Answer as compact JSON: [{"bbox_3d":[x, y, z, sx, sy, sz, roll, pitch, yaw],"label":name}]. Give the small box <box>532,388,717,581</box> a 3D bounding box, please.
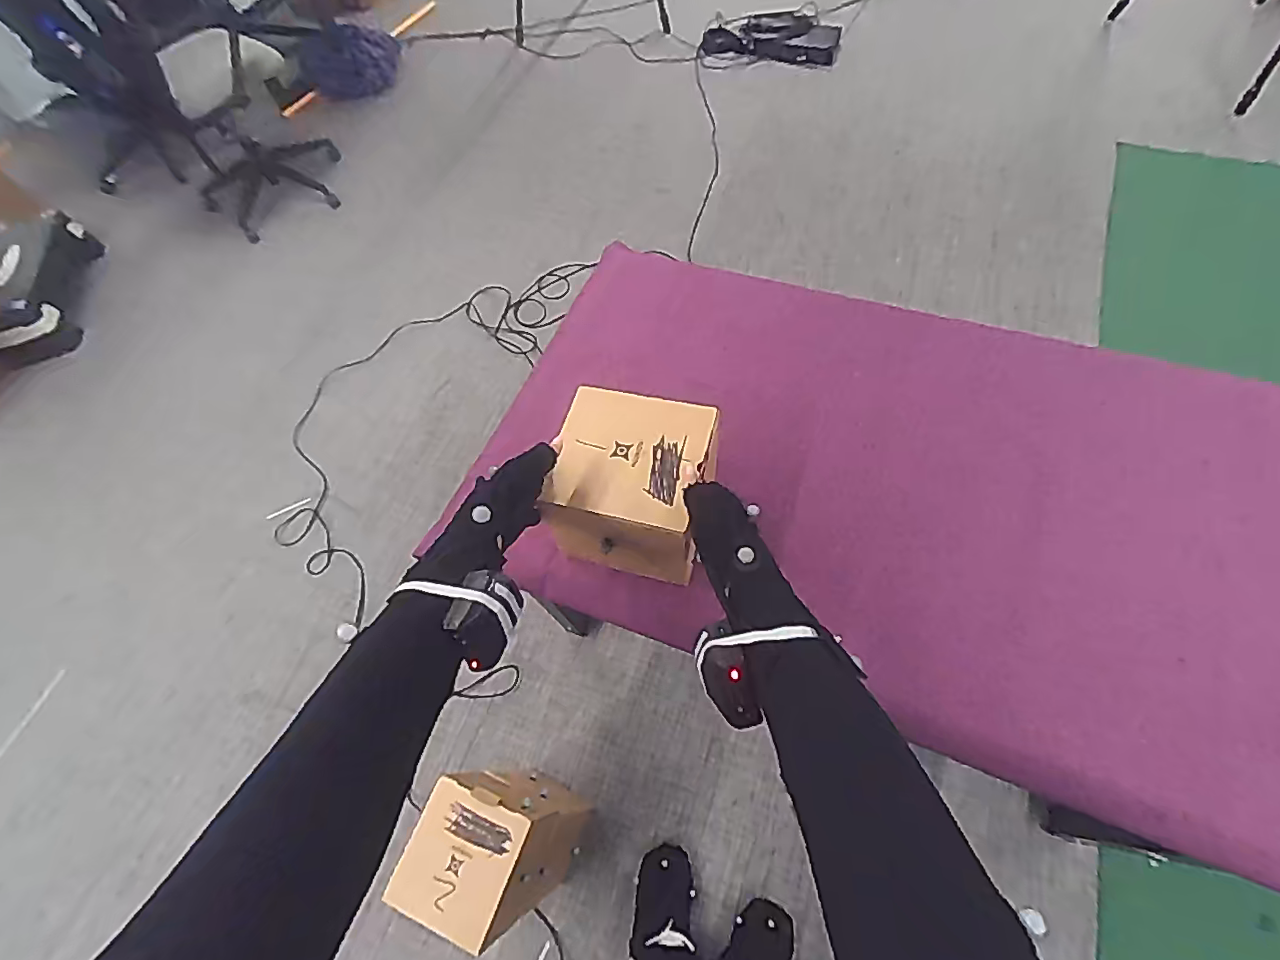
[{"bbox_3d":[-0.009,0.013,0.684,0.179,0.176,0.168,13,62,12],"label":"small box"}]
